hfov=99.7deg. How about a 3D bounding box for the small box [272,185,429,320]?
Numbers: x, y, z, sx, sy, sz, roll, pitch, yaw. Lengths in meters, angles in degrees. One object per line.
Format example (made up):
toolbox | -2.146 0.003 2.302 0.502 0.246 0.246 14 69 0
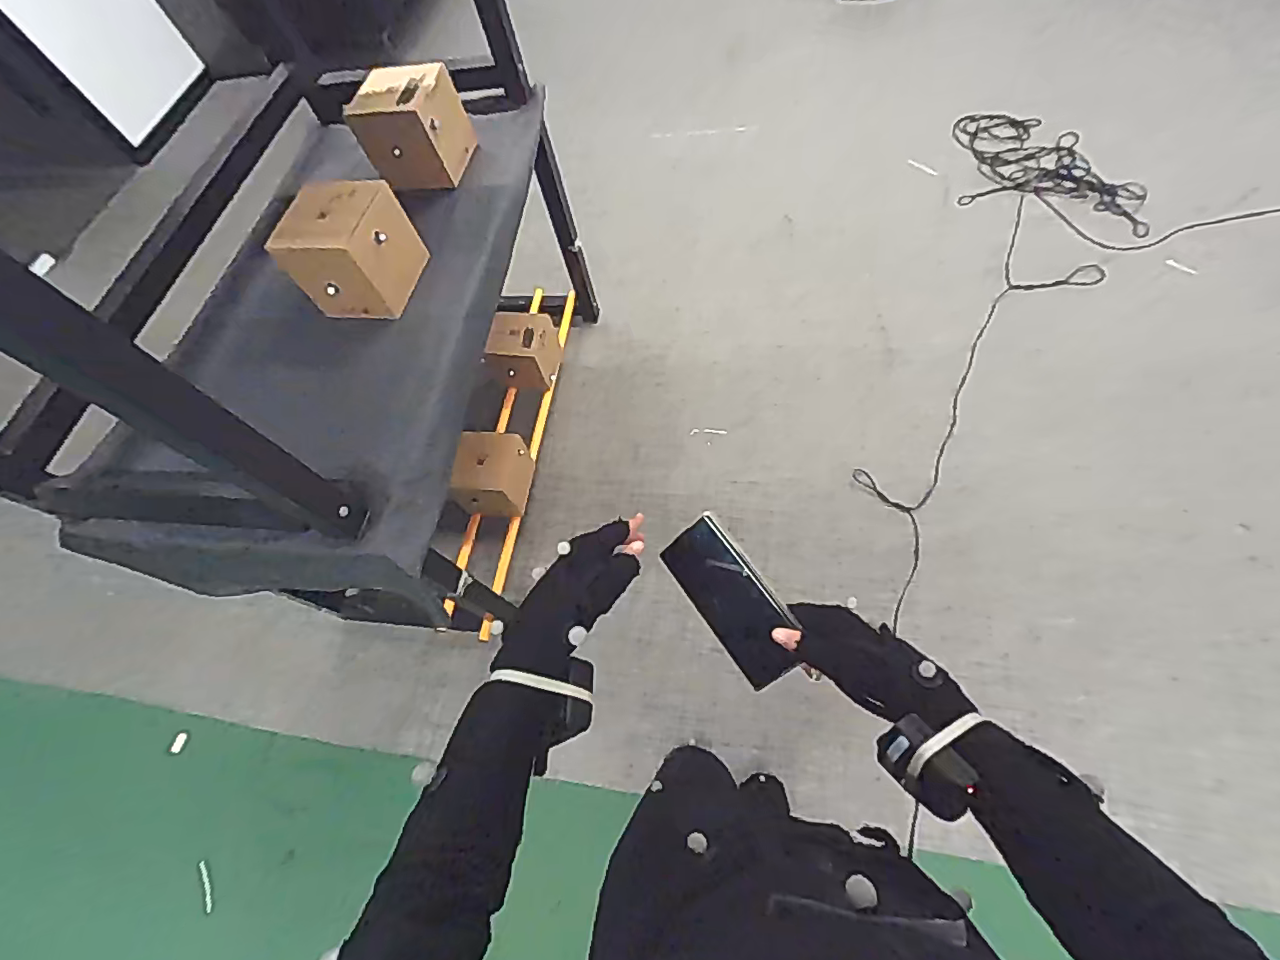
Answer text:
small box | -0.528 -0.421 1.016 0.168 0.176 0.179 6 64 12

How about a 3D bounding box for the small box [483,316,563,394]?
small box | -0.356 -0.384 1.680 0.179 0.176 0.168 6 63 12
